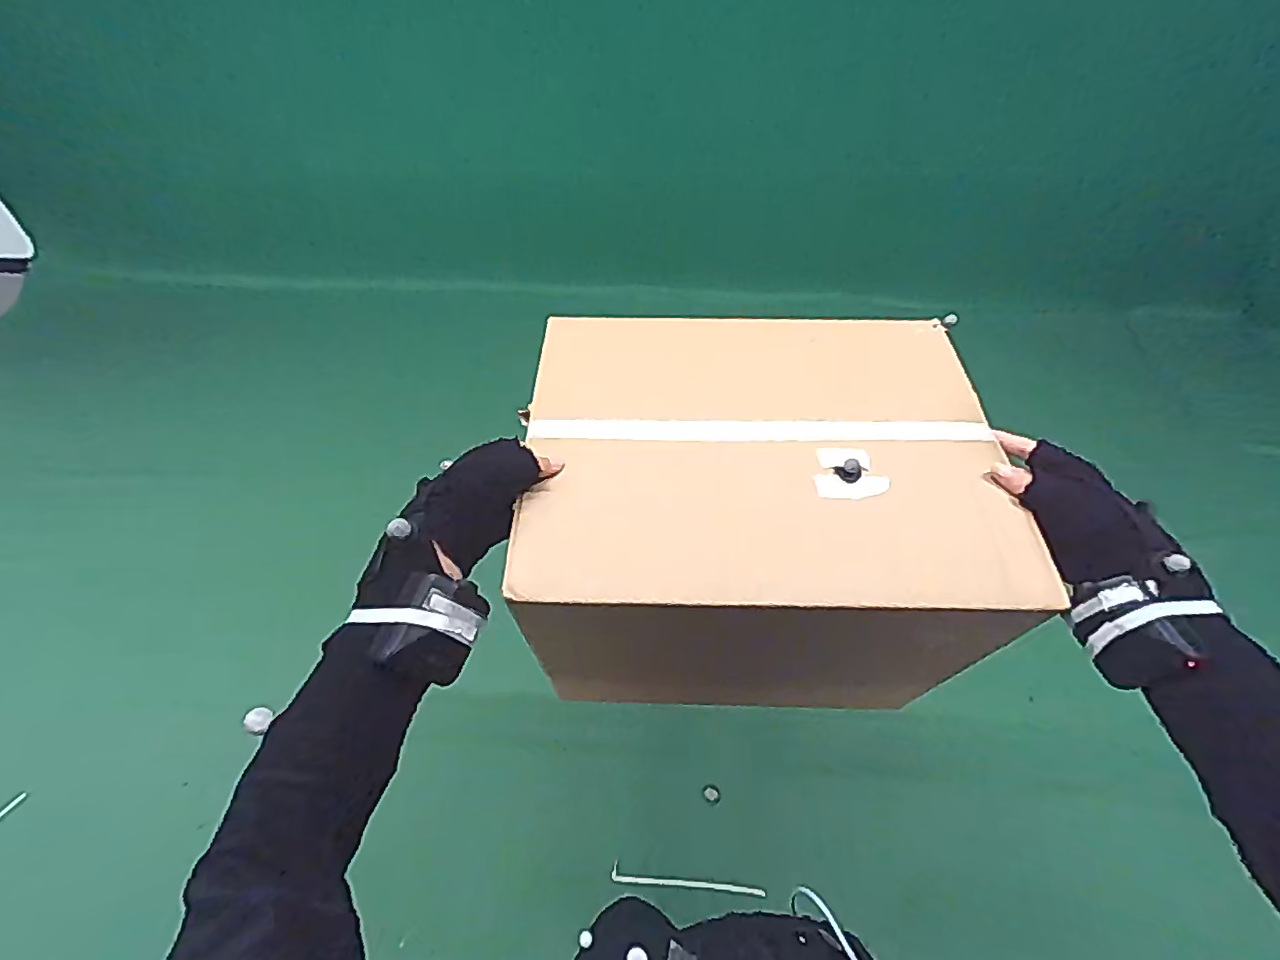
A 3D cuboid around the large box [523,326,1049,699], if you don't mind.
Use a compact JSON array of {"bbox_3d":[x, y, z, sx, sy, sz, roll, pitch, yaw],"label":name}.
[{"bbox_3d":[0.107,0.048,0.607,0.408,0.320,0.320,1,55,0],"label":"large box"}]
